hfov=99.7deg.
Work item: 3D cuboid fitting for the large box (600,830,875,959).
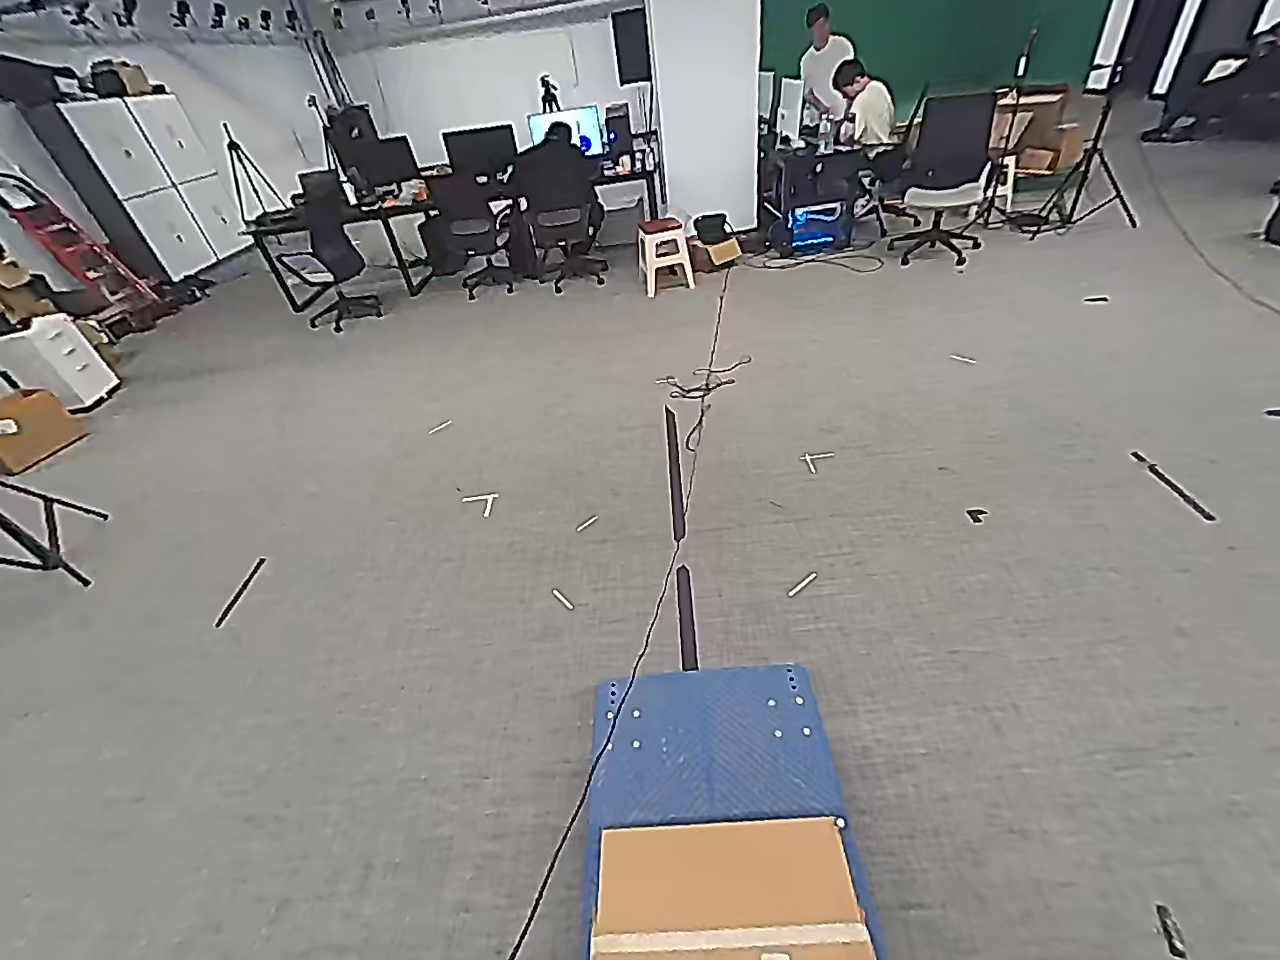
[{"bbox_3d":[0.154,0.812,0.875,0.408,0.320,0.320,-6,38,4],"label":"large box"}]
